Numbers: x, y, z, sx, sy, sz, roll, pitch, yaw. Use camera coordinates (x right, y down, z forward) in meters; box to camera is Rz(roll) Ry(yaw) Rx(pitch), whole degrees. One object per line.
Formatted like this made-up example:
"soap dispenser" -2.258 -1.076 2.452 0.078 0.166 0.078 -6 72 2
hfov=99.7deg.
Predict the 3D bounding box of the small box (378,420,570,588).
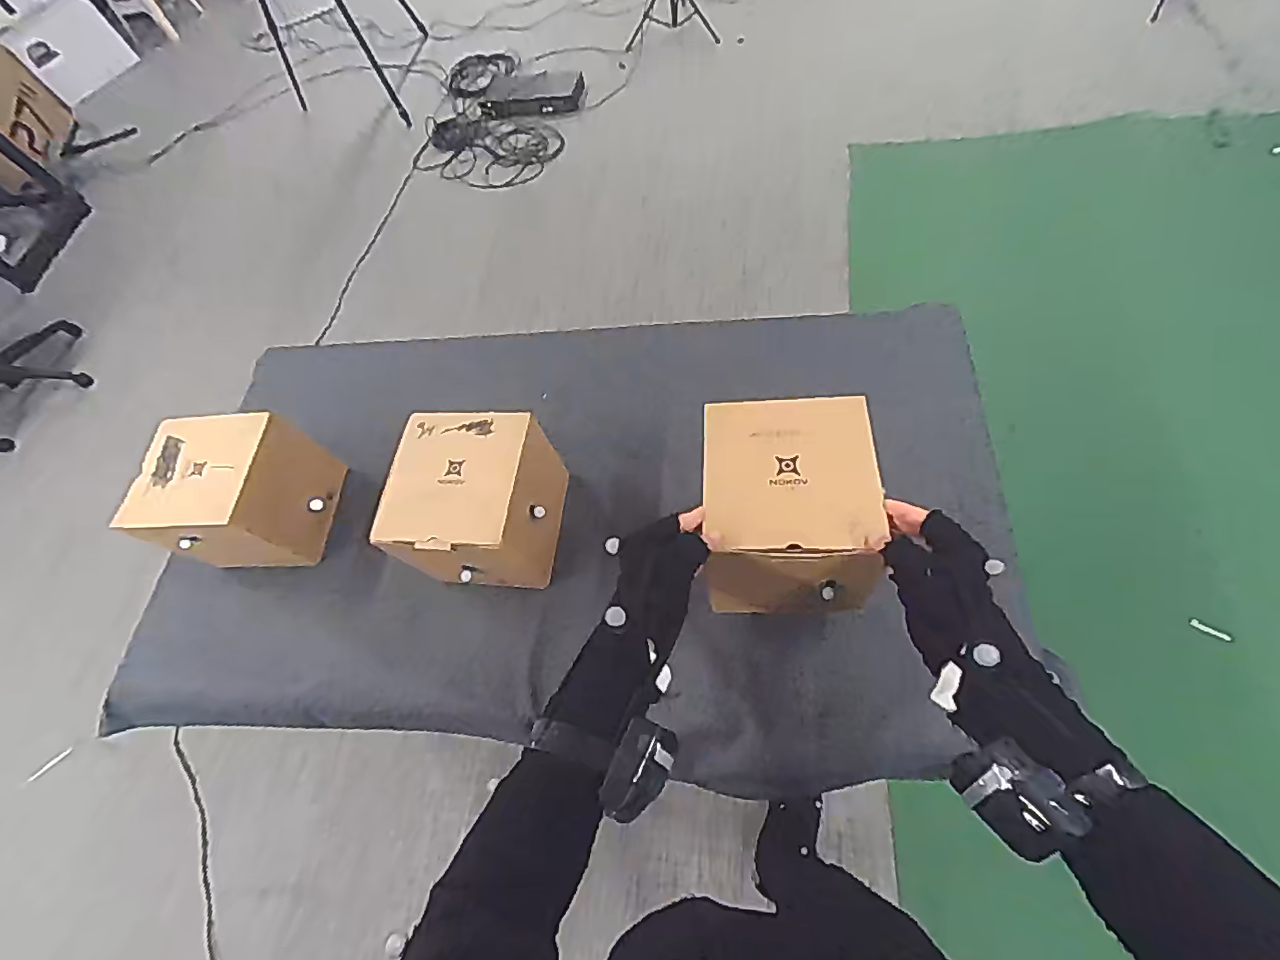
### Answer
"small box" -0.202 0.037 0.712 0.168 0.176 0.179 1 64 12

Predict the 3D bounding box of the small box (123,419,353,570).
"small box" -0.565 0.029 0.786 0.179 0.176 0.168 -2 63 9

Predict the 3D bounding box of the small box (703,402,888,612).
"small box" 0.159 0.038 0.596 0.168 0.176 0.179 -2 56 10
